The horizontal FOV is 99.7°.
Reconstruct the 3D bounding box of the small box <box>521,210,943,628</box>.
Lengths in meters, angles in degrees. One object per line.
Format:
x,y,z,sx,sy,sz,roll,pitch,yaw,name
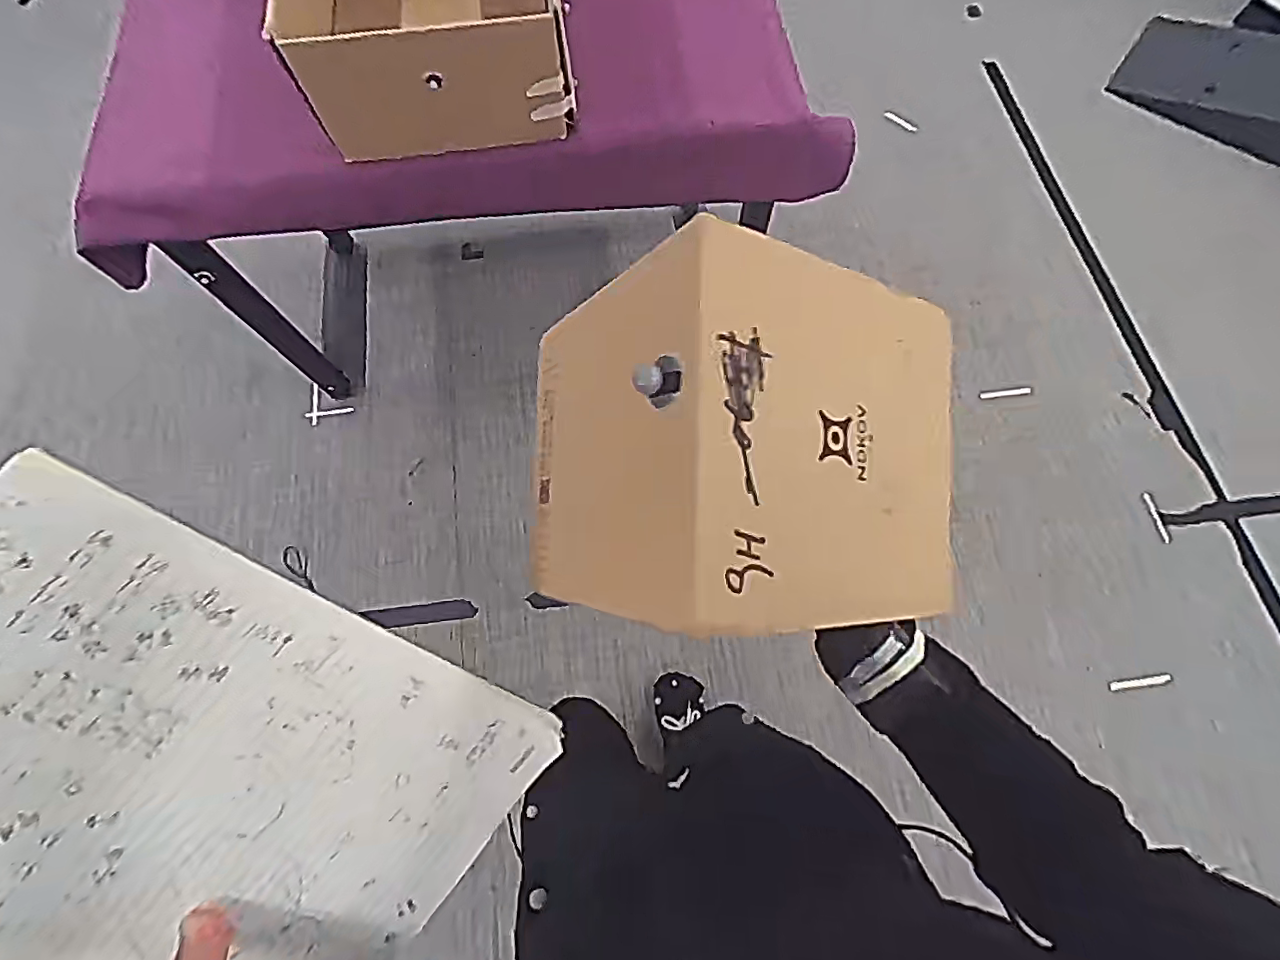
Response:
0.047,-0.014,0.316,0.179,0.176,0.168,5,83,-33,small box
